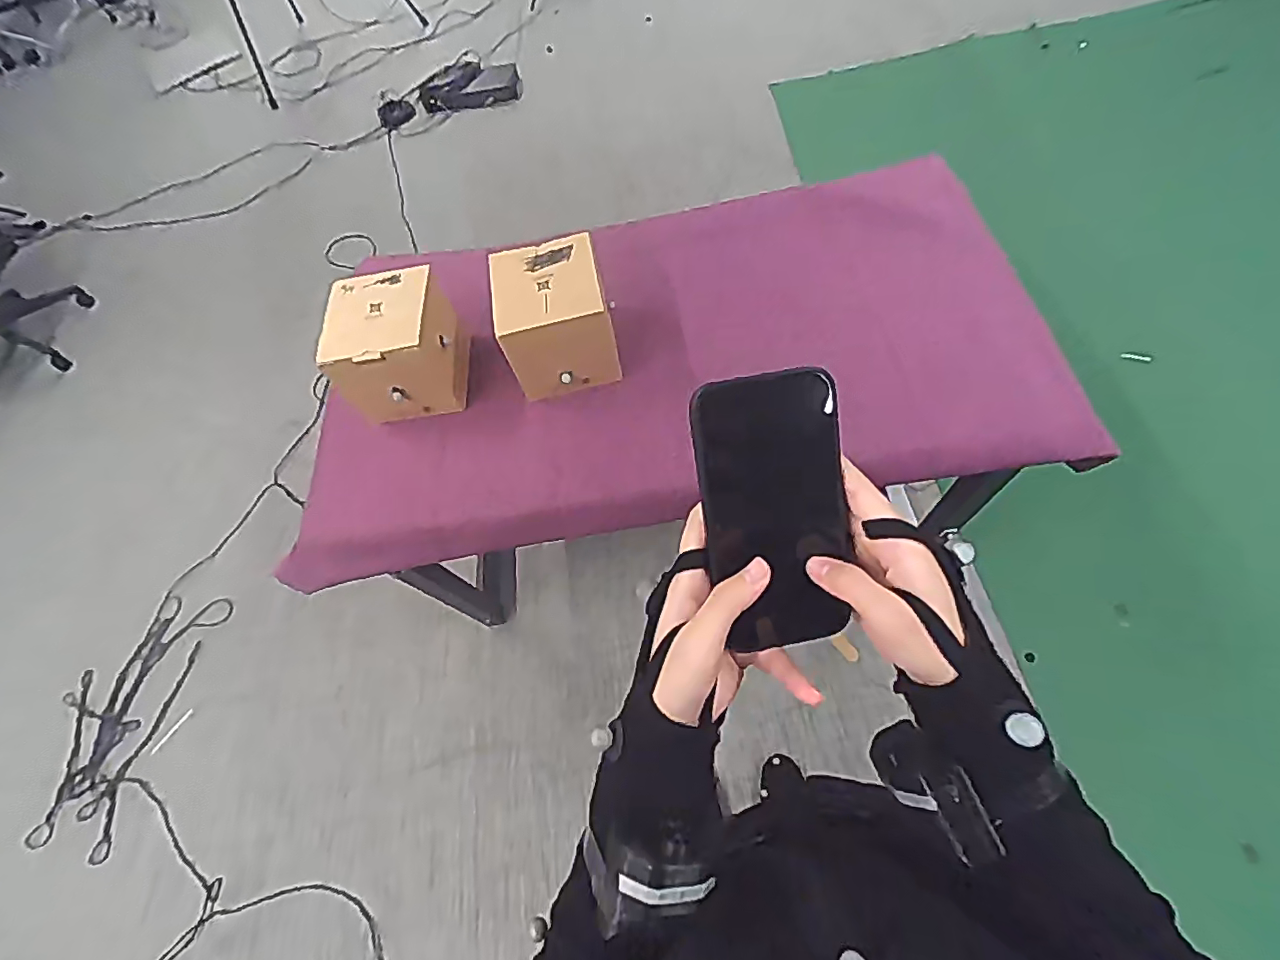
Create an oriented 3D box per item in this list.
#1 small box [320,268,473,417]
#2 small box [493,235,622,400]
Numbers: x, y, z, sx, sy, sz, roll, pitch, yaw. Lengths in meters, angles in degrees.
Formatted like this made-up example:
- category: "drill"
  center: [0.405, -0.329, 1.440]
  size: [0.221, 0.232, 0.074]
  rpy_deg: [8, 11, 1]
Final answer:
- category: "small box"
  center: [-0.396, -0.220, 0.912]
  size: [0.168, 0.176, 0.179]
  rpy_deg: [-8, 63, 5]
- category: "small box"
  center: [-0.131, -0.261, 0.890]
  size: [0.168, 0.176, 0.179]
  rpy_deg: [-13, 63, 3]
